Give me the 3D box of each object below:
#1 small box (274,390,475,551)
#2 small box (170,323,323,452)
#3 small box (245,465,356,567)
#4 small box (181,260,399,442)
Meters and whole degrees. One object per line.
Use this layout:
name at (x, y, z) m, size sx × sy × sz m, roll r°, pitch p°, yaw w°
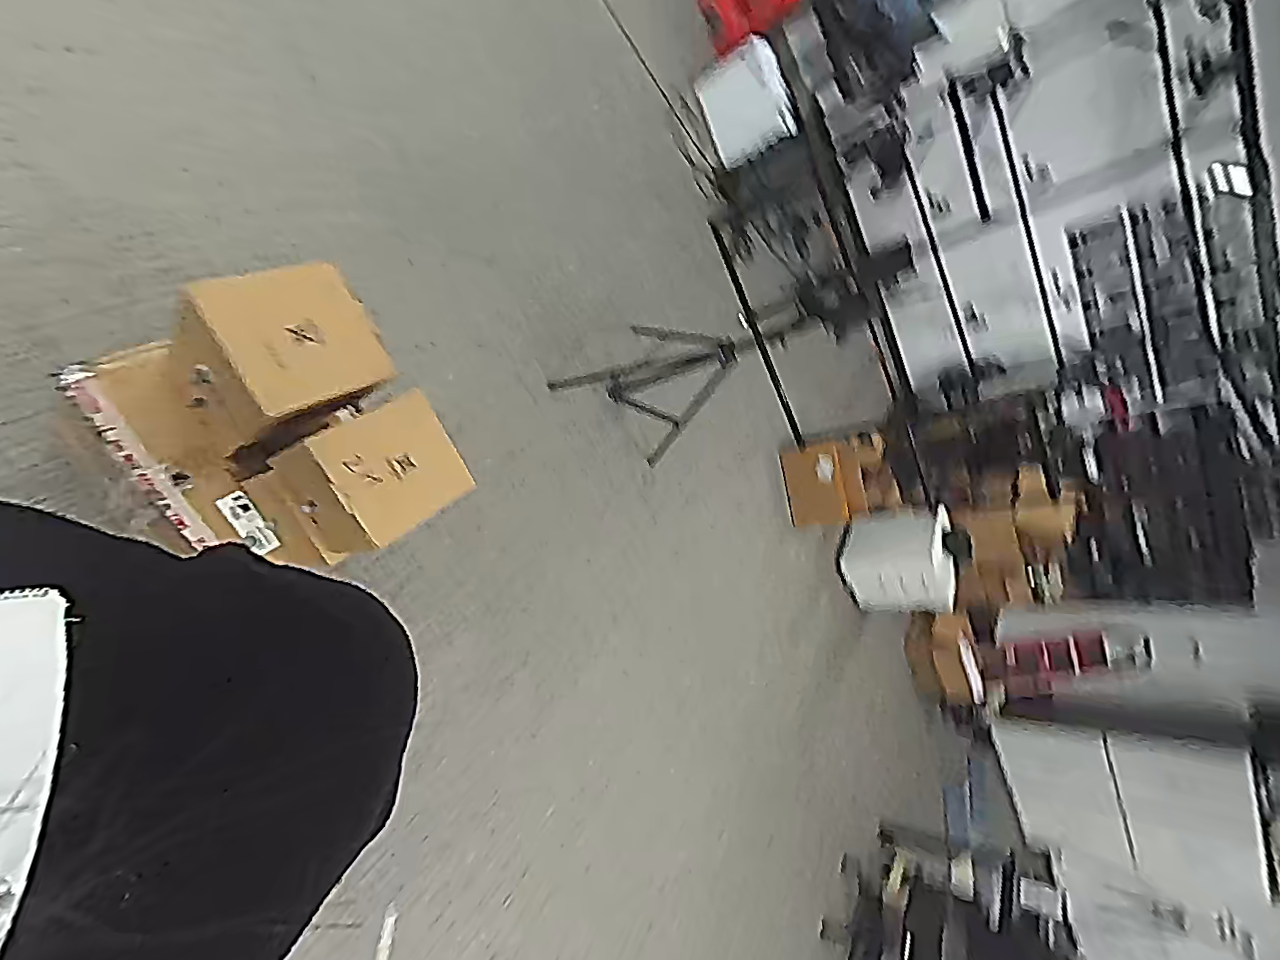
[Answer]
small box at (-0.386, -0.011, 0.789) m, size 0.179 × 0.176 × 0.168 m, roll -41°, pitch 113°, yaw -43°
small box at (-0.588, -0.158, 0.844) m, size 0.179 × 0.176 × 0.168 m, roll -37°, pitch 108°, yaw -42°
small box at (-0.506, 0.027, 0.896) m, size 0.179 × 0.176 × 0.168 m, roll -38°, pitch 111°, yaw -43°
small box at (-0.471, -0.169, 0.728) m, size 0.179 × 0.176 × 0.168 m, roll -37°, pitch 106°, yaw -42°
